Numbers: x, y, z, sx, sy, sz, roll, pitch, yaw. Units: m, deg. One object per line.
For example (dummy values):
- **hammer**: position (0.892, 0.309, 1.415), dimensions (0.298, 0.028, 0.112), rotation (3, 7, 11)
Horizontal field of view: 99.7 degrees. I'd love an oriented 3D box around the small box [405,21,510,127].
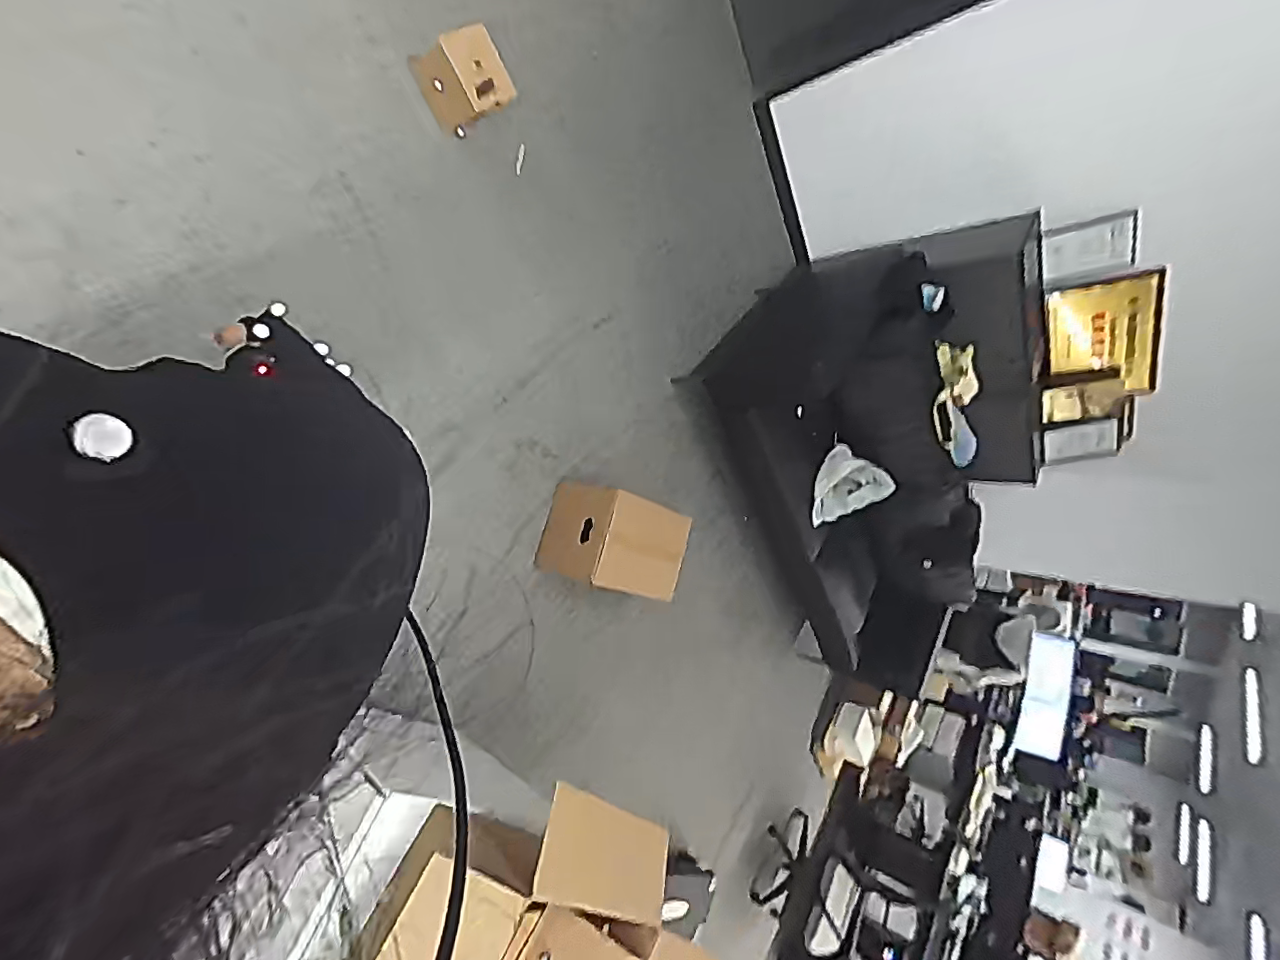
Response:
- **small box**: position (-0.498, -1.096, 1.475), dimensions (0.168, 0.176, 0.179), rotation (-49, 127, -31)
